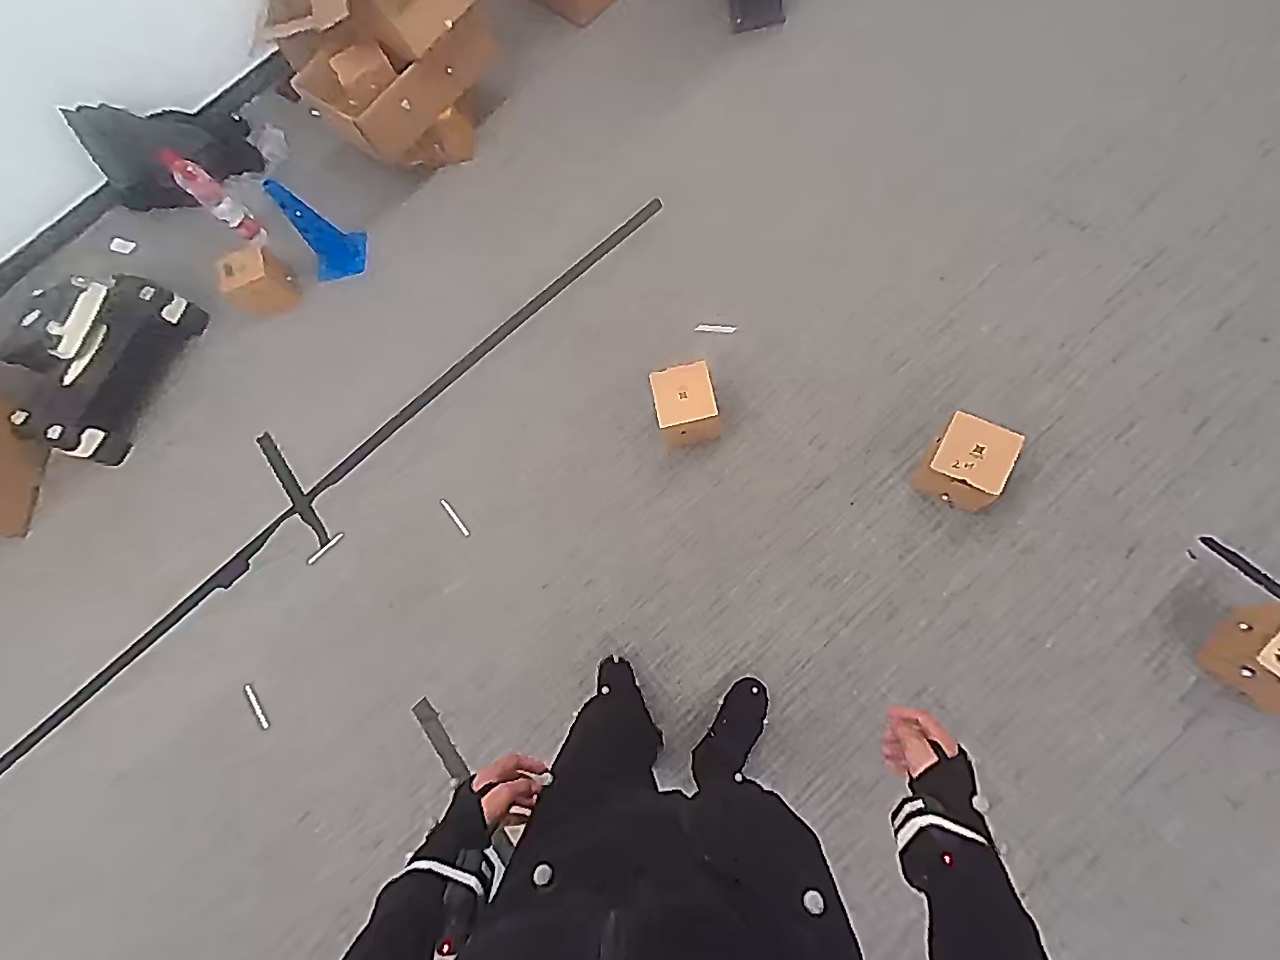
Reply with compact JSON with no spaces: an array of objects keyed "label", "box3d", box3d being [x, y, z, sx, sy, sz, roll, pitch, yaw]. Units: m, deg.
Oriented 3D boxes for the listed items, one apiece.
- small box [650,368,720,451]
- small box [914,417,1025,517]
[{"label":"small box","box3d":[0.136,-0.196,1.574,0.168,0.176,0.179,-13,70,7]},{"label":"small box","box3d":[0.837,-0.029,1.393,0.168,0.176,0.179,27,79,18]}]
